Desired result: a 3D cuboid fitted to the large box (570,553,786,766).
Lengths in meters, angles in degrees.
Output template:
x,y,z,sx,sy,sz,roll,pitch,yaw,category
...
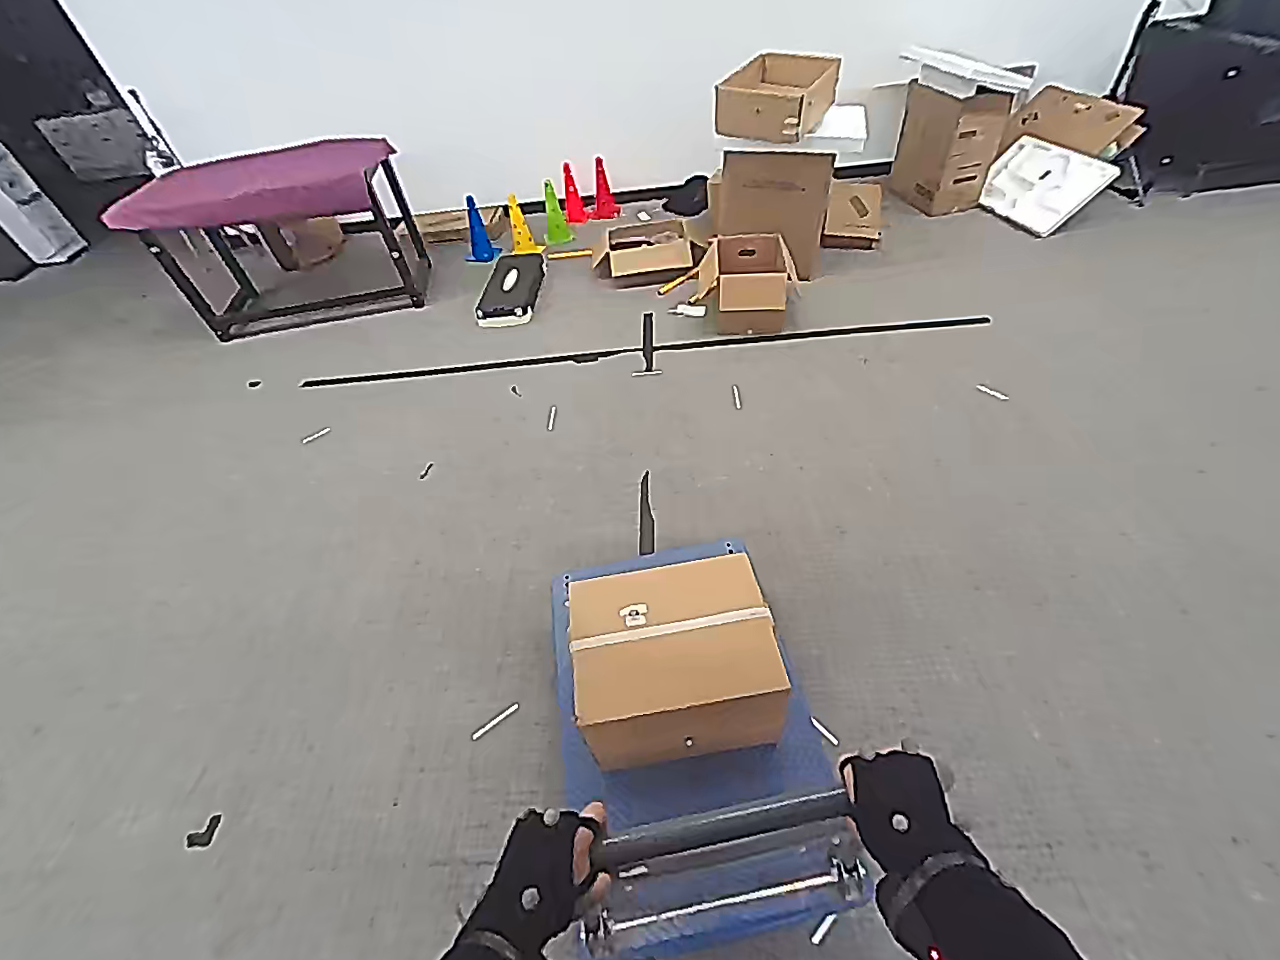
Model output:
x,y,z,sx,sy,sz,roll,pitch,yaw,category
0.078,0.410,1.223,0.408,0.320,0.320,-10,46,-1,large box
